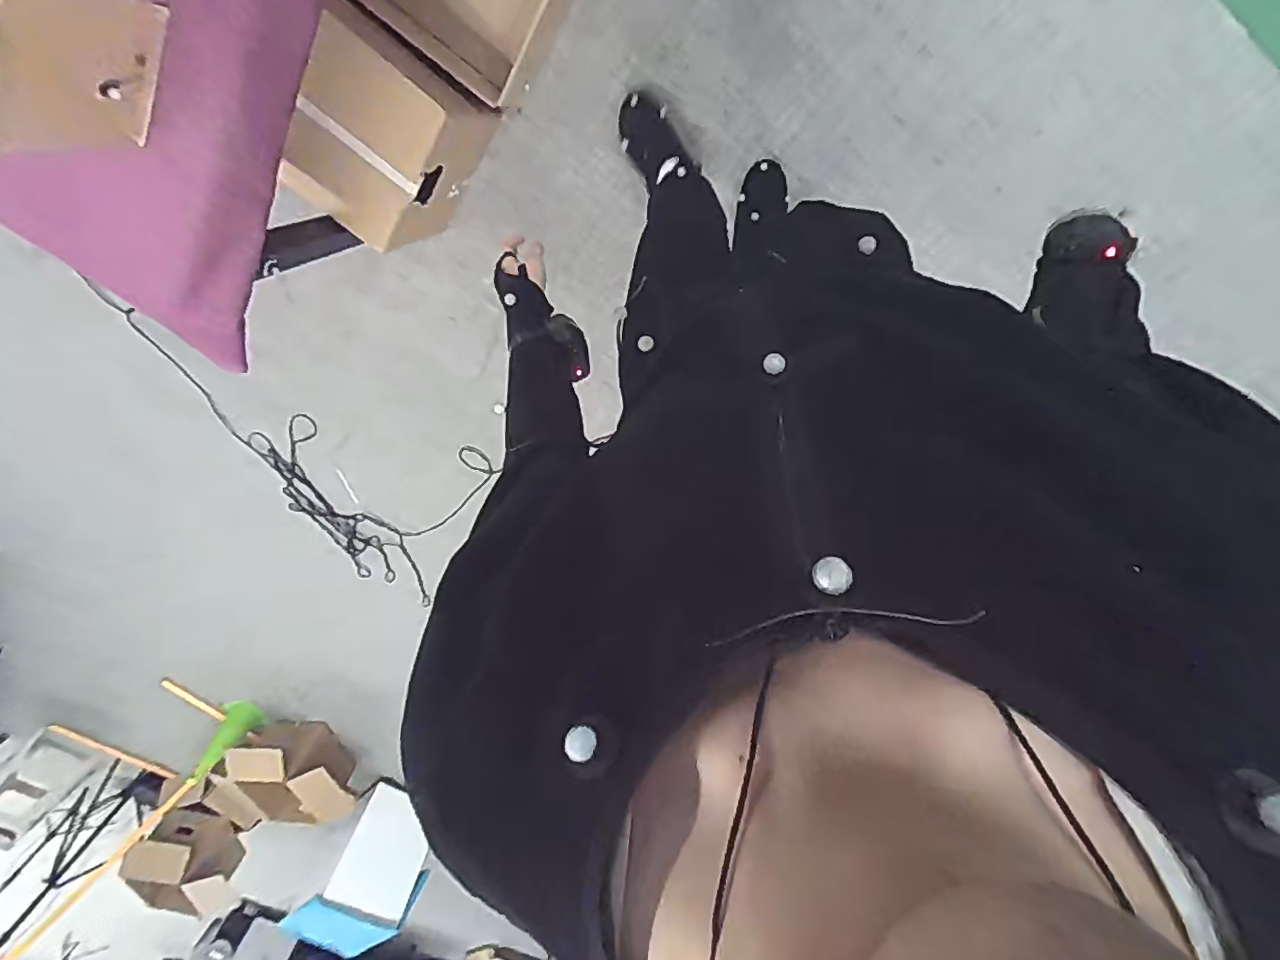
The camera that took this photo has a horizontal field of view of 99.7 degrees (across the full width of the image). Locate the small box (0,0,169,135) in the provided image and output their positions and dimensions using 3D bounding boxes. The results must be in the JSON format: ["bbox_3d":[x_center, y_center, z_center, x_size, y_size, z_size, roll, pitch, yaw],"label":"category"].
[{"bbox_3d":[-0.615,-0.459,0.513,0.179,0.176,0.168,36,120,-16],"label":"small box"}]
